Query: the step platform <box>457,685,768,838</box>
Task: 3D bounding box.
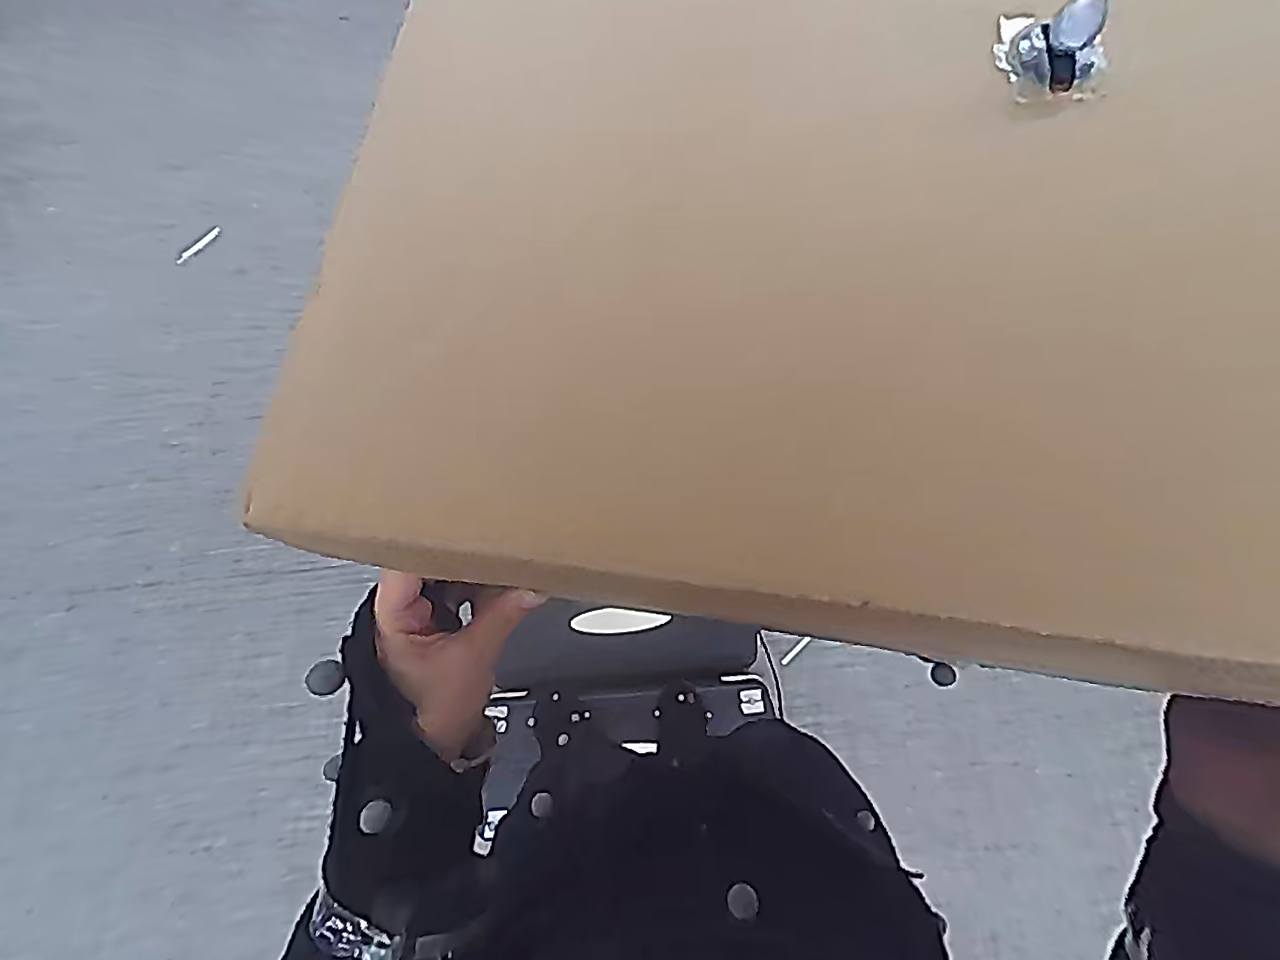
[{"bbox_3d":[-0.058,0.631,1.236,0.684,0.204,0.286,0,74,1],"label":"step platform"}]
